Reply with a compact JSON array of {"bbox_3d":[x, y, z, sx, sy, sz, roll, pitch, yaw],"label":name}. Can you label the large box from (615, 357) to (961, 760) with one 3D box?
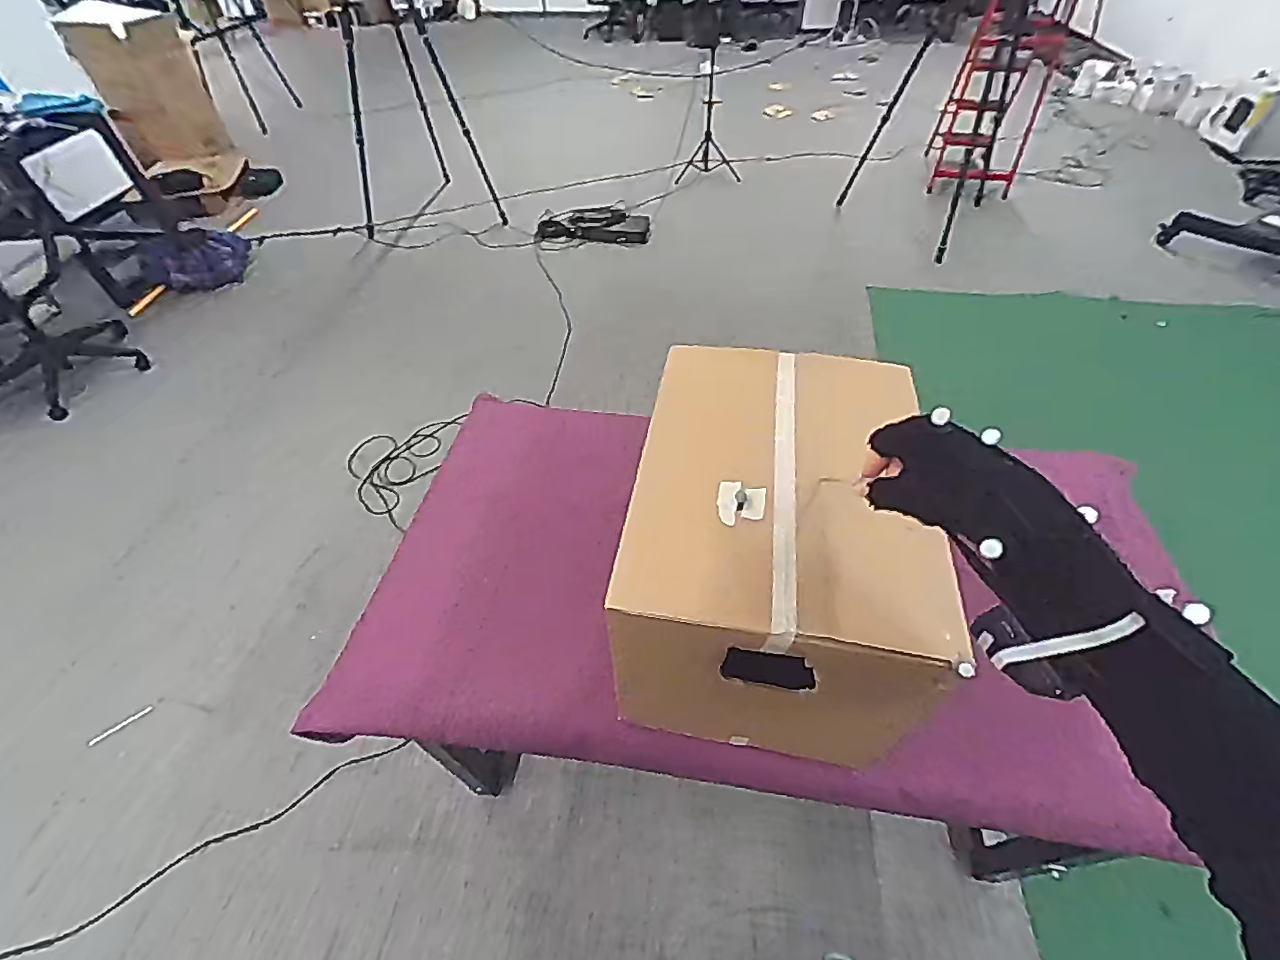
[{"bbox_3d":[0.159,0.093,0.718,0.320,0.320,0.408,7,50,8],"label":"large box"}]
